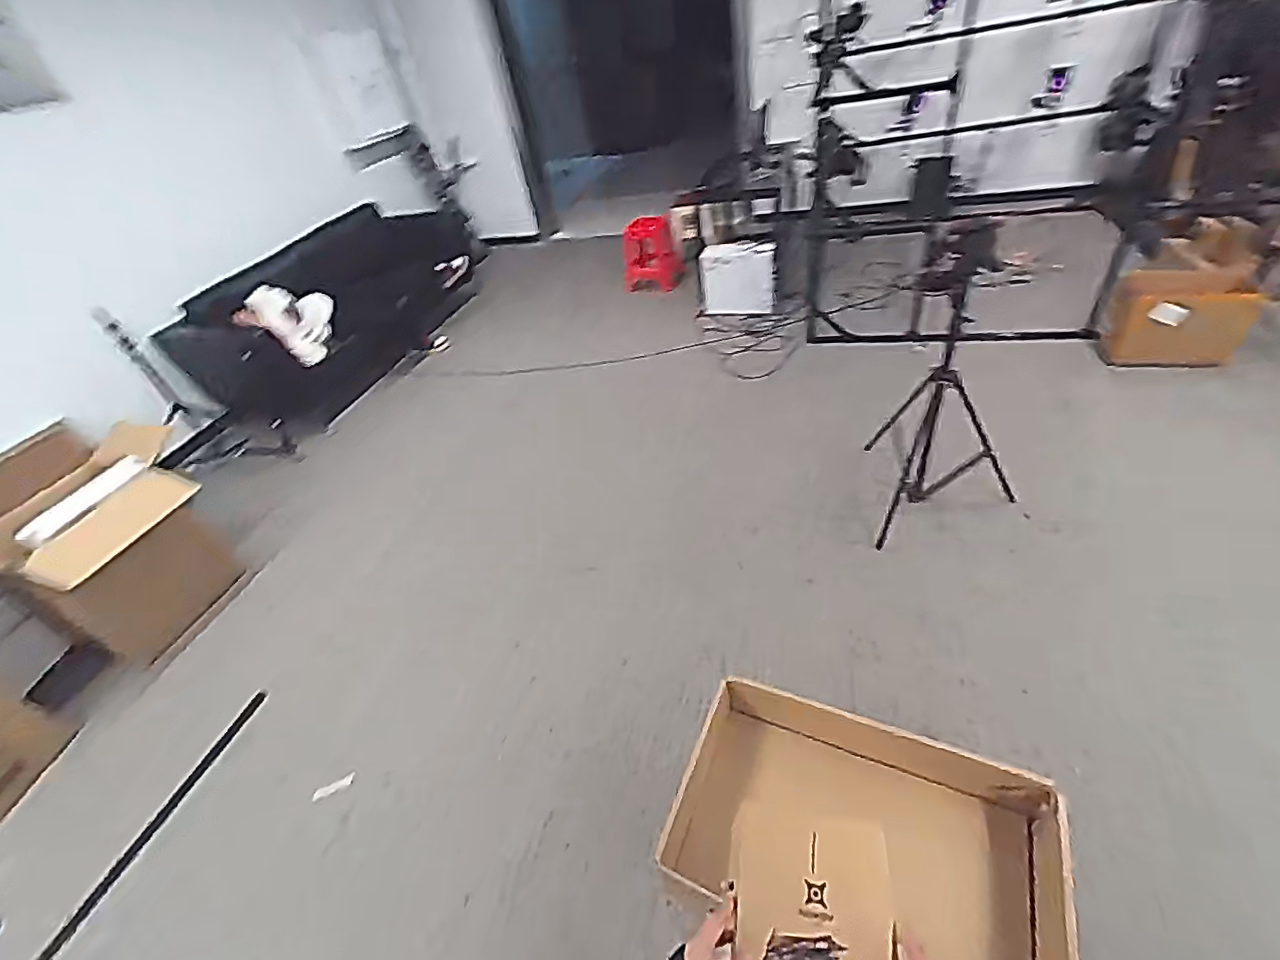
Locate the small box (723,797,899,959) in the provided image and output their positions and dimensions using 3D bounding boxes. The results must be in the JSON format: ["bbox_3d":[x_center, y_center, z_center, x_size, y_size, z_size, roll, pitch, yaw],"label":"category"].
[{"bbox_3d":[0.188,0.501,0.628,0.168,0.176,0.179,6,47,8],"label":"small box"}]
